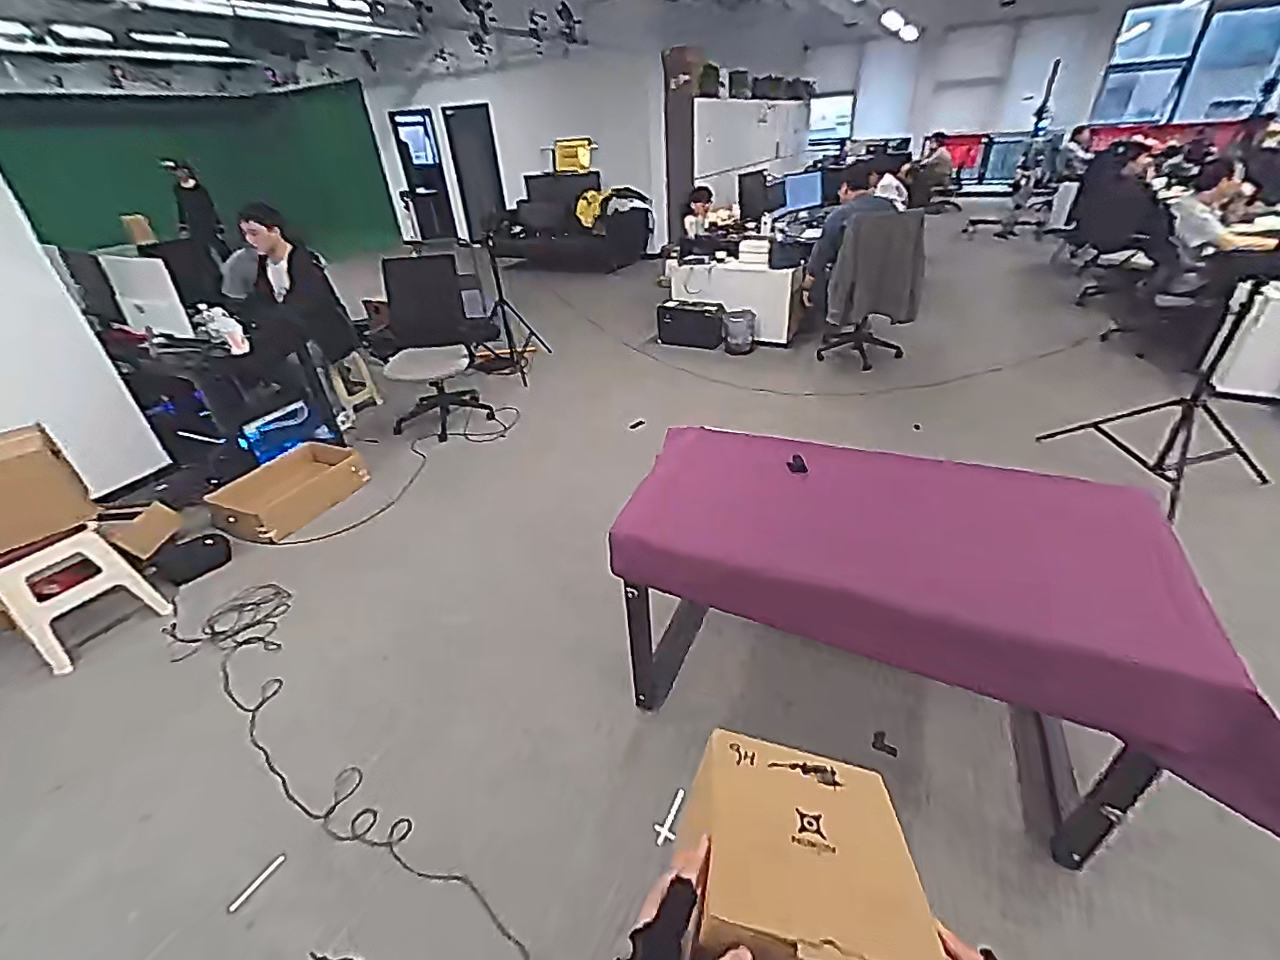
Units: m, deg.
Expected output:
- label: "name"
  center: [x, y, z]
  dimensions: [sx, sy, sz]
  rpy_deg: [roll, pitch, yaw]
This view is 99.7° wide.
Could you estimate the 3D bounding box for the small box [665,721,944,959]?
- label: "small box"
  center: [0.121, 0.354, 0.467]
  dimensions: [0.168, 0.176, 0.179]
  rpy_deg: [15, 21, 3]
